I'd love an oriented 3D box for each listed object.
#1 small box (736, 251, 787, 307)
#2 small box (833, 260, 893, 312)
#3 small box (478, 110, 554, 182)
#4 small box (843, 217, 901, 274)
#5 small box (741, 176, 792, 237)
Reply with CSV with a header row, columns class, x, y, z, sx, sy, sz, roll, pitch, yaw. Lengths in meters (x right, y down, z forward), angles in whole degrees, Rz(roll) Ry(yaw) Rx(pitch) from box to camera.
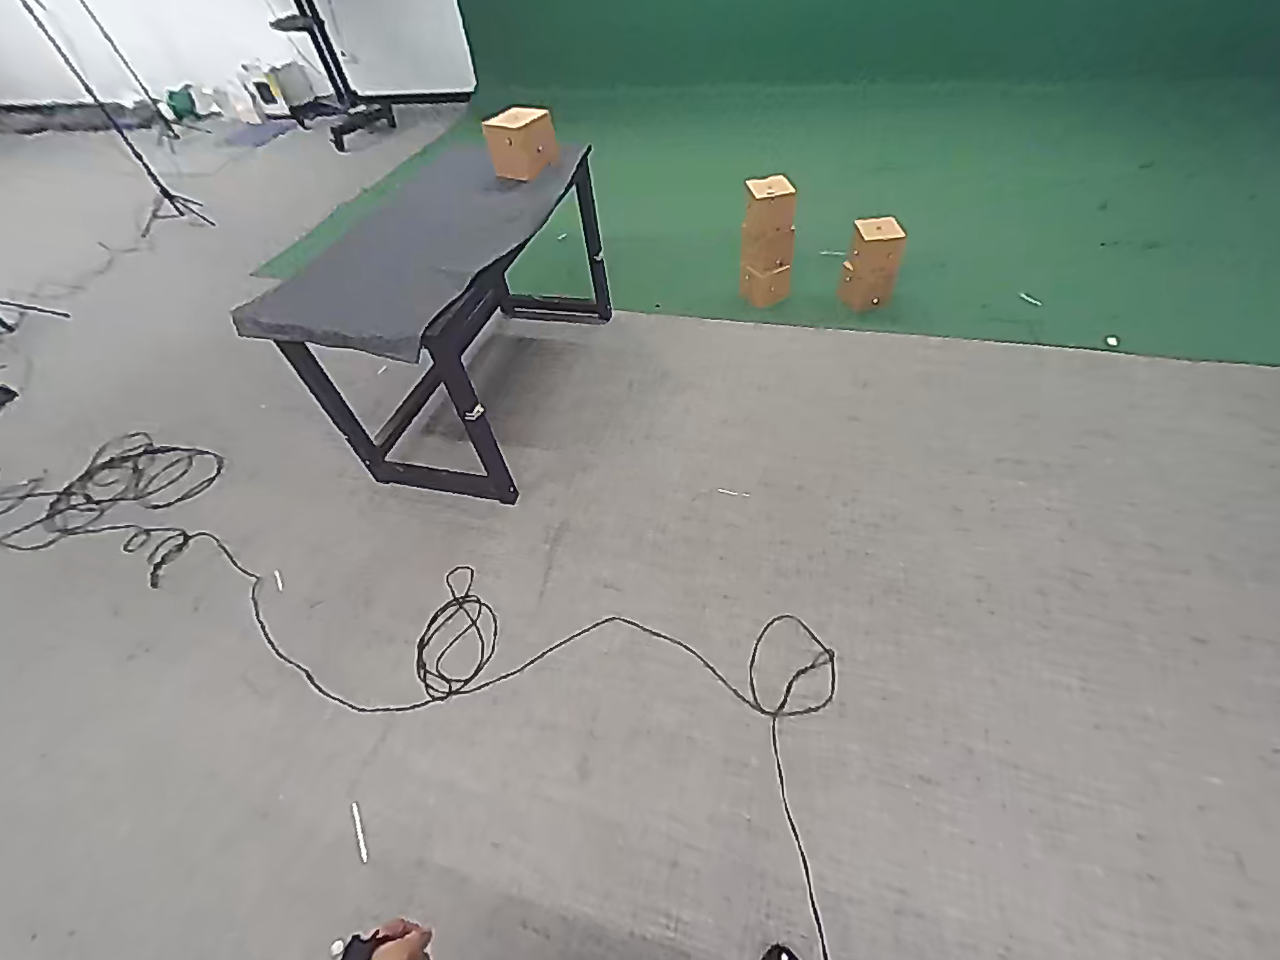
class,x,y,z,sx,sy,sz,roll,pitch,yaw
small box,0.564,-0.933,2.529,0.168,0.176,0.179,-26,52,-14
small box,0.997,-0.887,2.432,0.168,0.176,0.179,-21,52,-10
small box,-0.425,-1.161,1.885,0.179,0.176,0.168,25,57,28
small box,0.987,-0.996,2.312,0.168,0.176,0.179,-4,49,2
small box,0.528,-1.157,2.290,0.168,0.176,0.179,-11,50,-1
